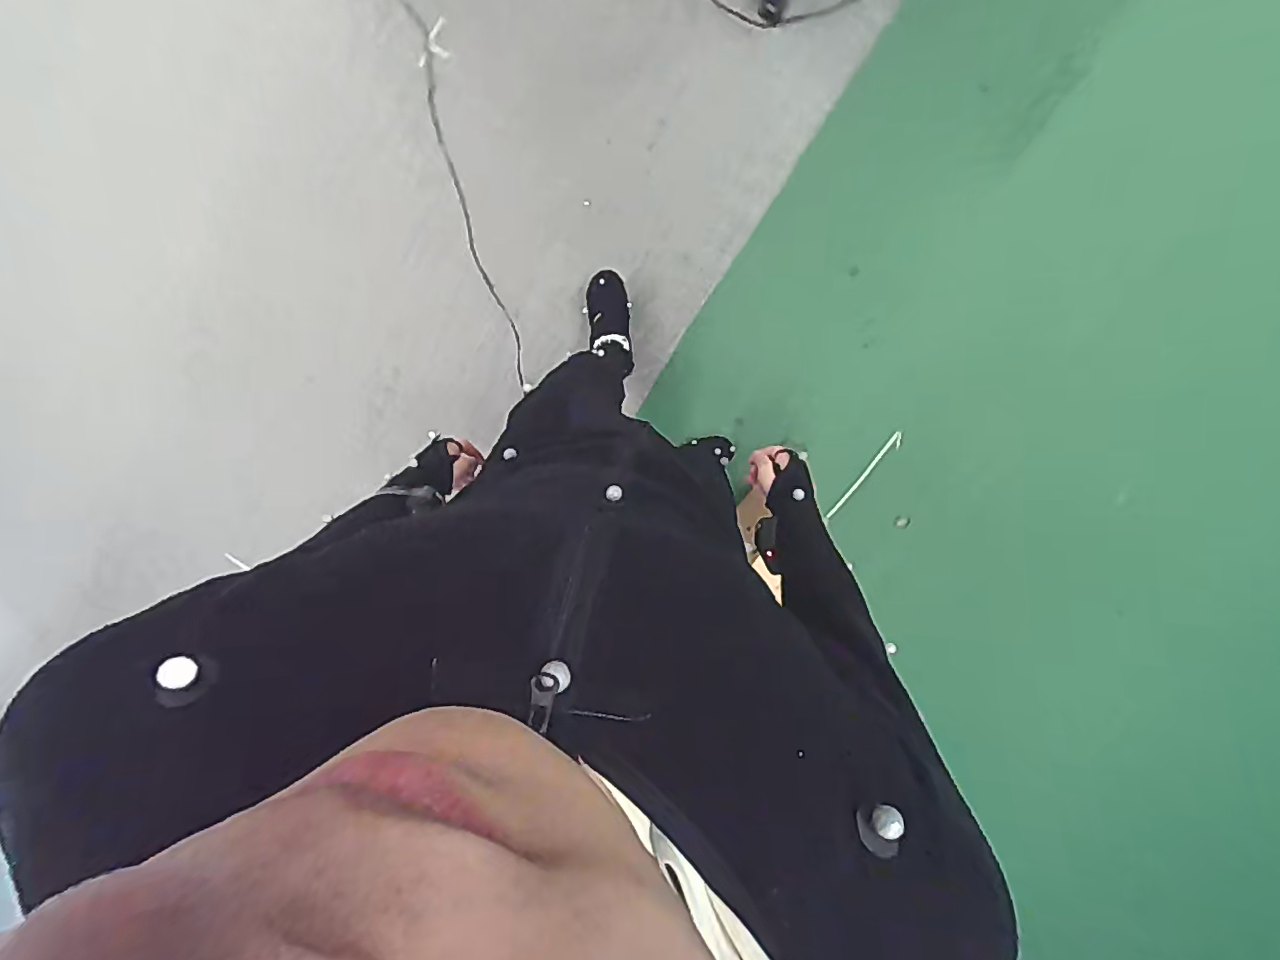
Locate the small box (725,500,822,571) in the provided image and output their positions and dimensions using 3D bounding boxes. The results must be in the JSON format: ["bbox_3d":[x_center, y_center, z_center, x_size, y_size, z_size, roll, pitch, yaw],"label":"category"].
[{"bbox_3d":[0.334,0.178,1.382,0.168,0.176,0.179,35,104,-1],"label":"small box"}]

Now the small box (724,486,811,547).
[{"bbox_3d":[0.357,0.144,1.539,0.168,0.176,0.179,36,105,-2],"label":"small box"}]

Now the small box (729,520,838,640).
[{"bbox_3d":[0.313,0.217,1.224,0.168,0.176,0.179,35,106,0],"label":"small box"}]
